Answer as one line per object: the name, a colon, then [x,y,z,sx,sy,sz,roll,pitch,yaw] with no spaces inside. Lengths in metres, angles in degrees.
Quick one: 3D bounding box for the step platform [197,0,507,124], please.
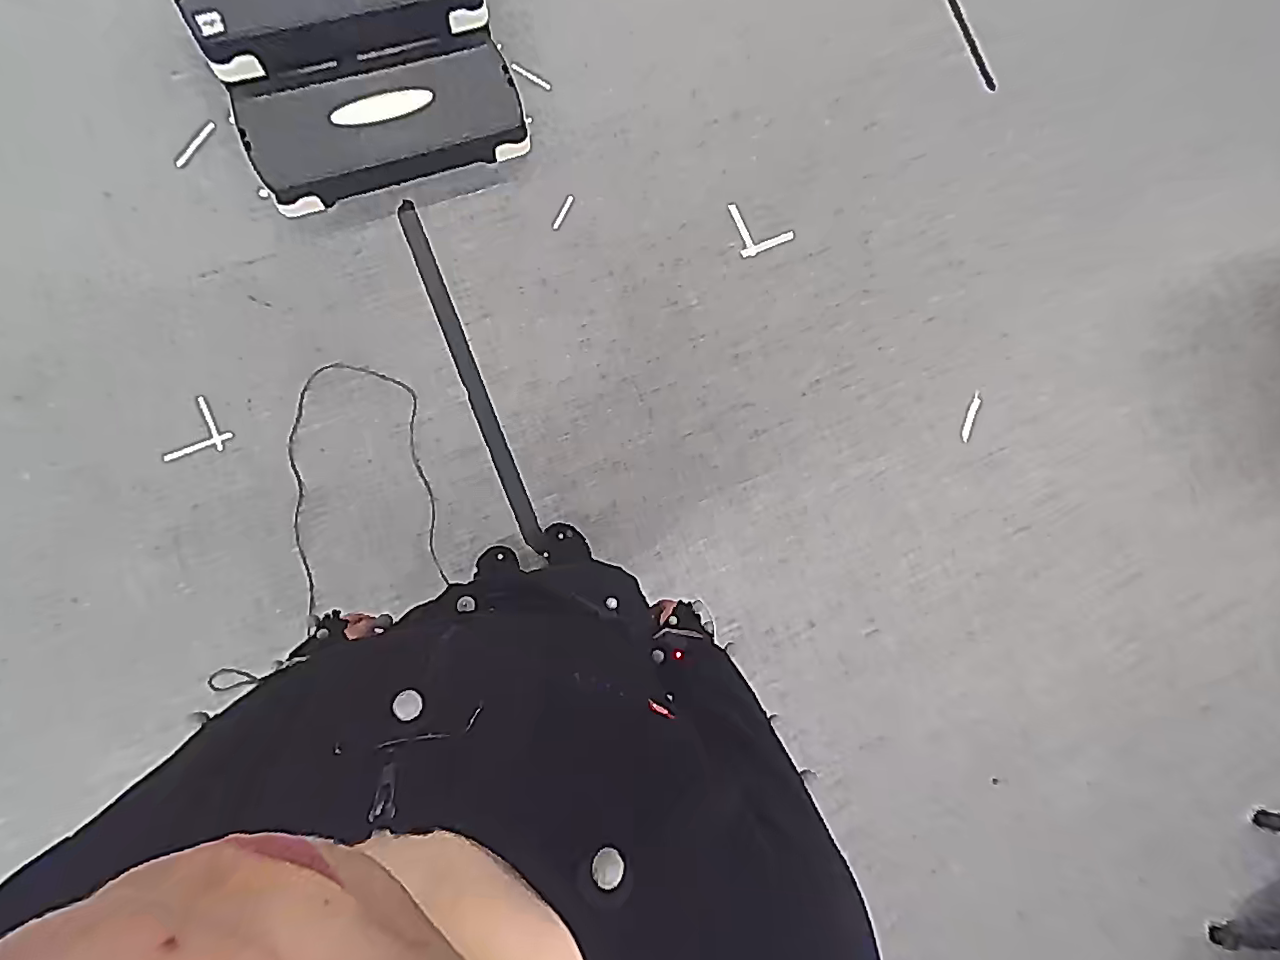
step platform: [-0.701,-1.147,1.367,0.684,0.204,0.286,-17,86,-11]
